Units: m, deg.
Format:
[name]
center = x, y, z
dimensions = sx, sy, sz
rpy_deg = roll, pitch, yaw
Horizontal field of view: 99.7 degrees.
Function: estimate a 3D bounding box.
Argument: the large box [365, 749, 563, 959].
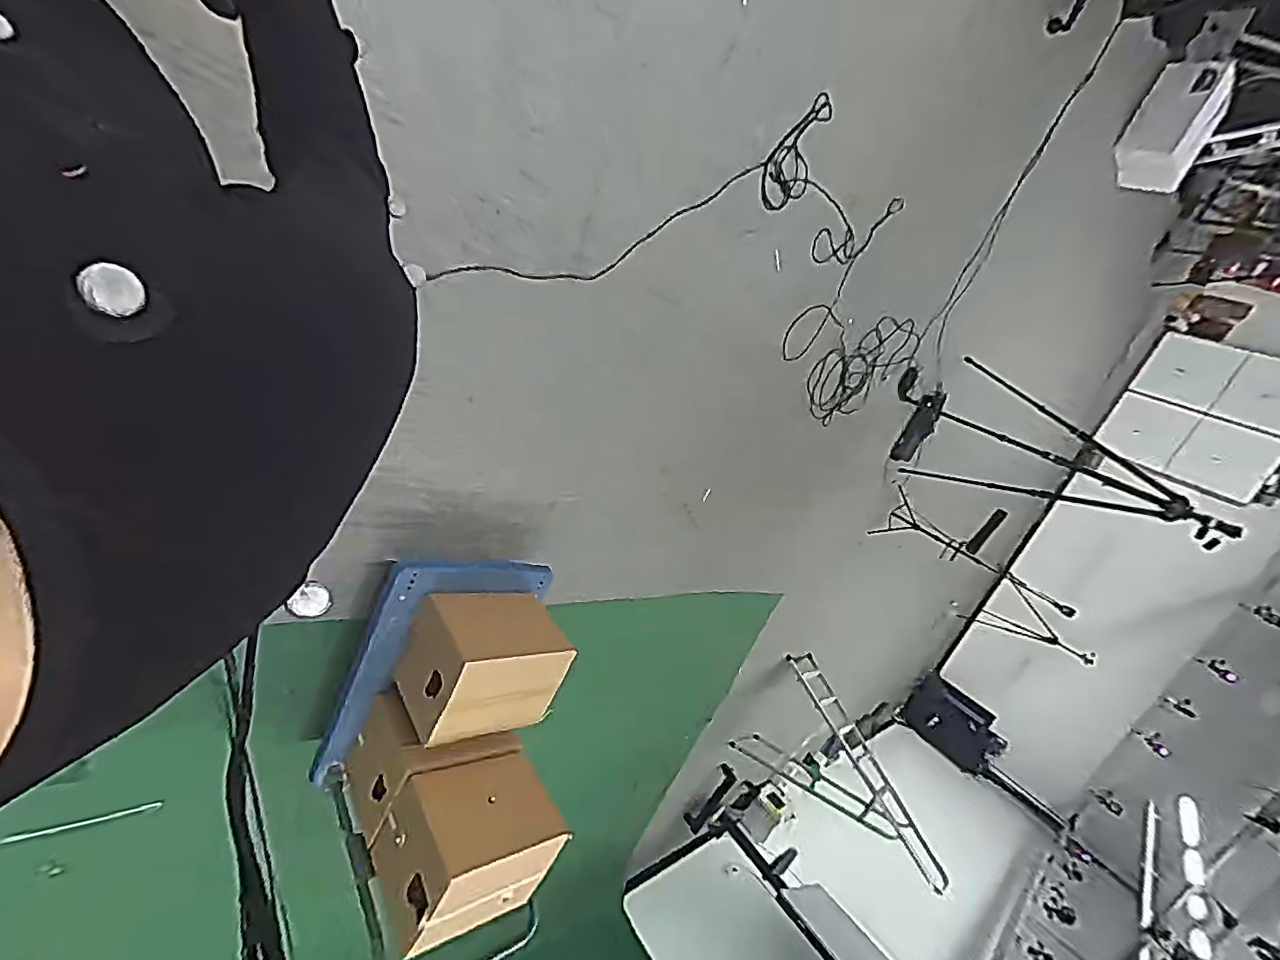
[large box]
center = -0.518, 1.060, 1.591
dimensions = 0.408, 0.320, 0.320
rpy_deg = 17, 109, -49
